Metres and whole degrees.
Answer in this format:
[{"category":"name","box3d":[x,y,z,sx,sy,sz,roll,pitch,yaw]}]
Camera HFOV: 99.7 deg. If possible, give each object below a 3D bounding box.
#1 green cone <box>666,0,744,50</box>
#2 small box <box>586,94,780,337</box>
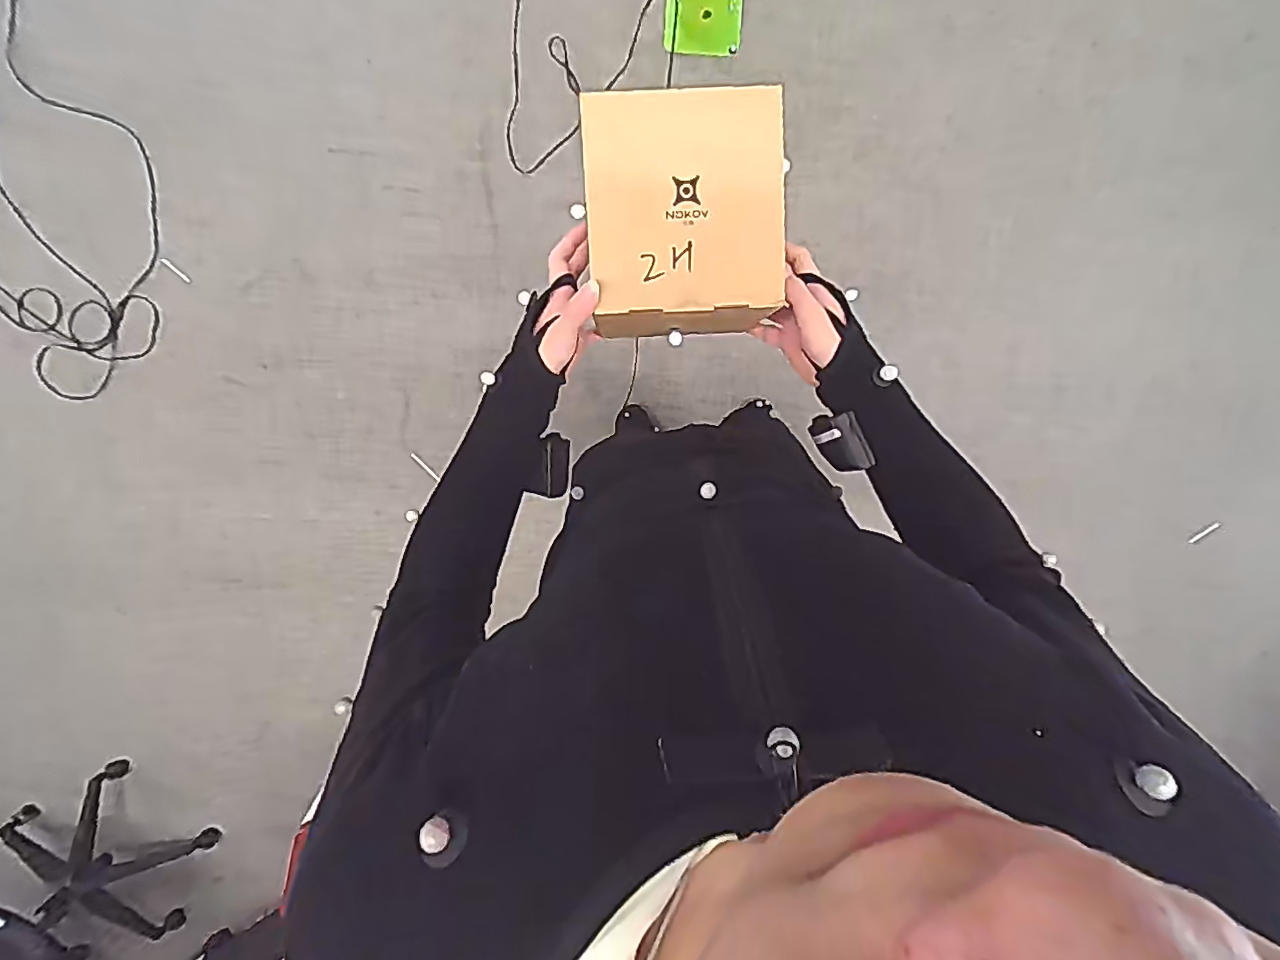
[{"category":"green cone","box3d":[0.170,-1.215,1.246,0.202,0.368,0.200,3,99,0]},{"category":"small box","box3d":[0.034,-0.242,0.536,0.168,0.176,0.179,-2,98,-1]}]
